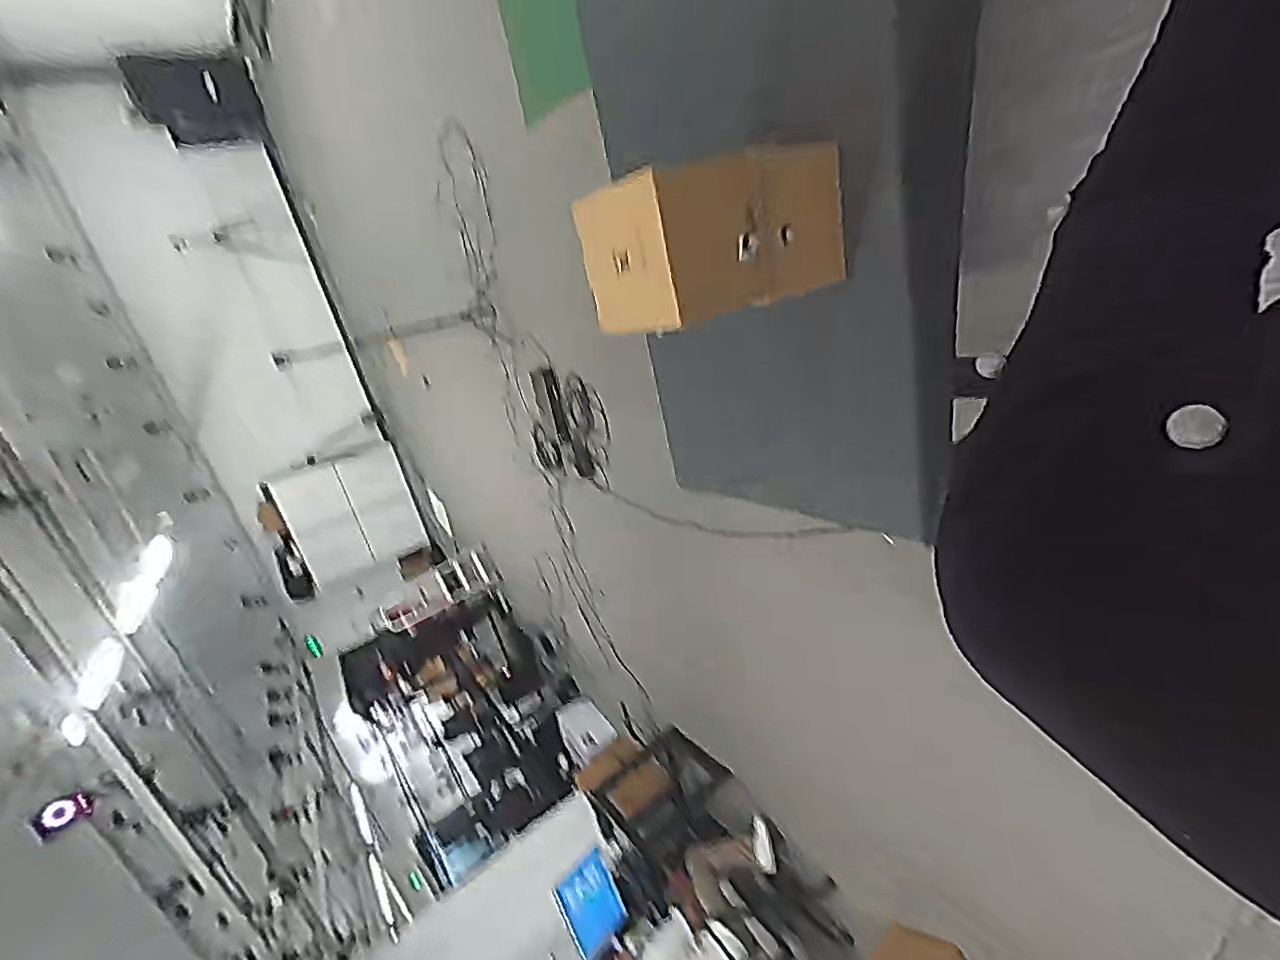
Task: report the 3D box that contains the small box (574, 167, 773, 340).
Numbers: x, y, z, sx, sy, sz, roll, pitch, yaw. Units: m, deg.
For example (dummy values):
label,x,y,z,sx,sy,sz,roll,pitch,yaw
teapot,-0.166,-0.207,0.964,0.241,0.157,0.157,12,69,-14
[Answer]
label,x,y,z,sx,sy,sz,roll,pitch,yaw
small box,0.045,-0.289,0.706,0.179,0.176,0.168,13,124,53

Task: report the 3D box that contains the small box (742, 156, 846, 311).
label,x,y,z,sx,sy,sz,roll,pitch,yaw
small box,0.184,-0.354,0.796,0.168,0.176,0.179,16,124,52
